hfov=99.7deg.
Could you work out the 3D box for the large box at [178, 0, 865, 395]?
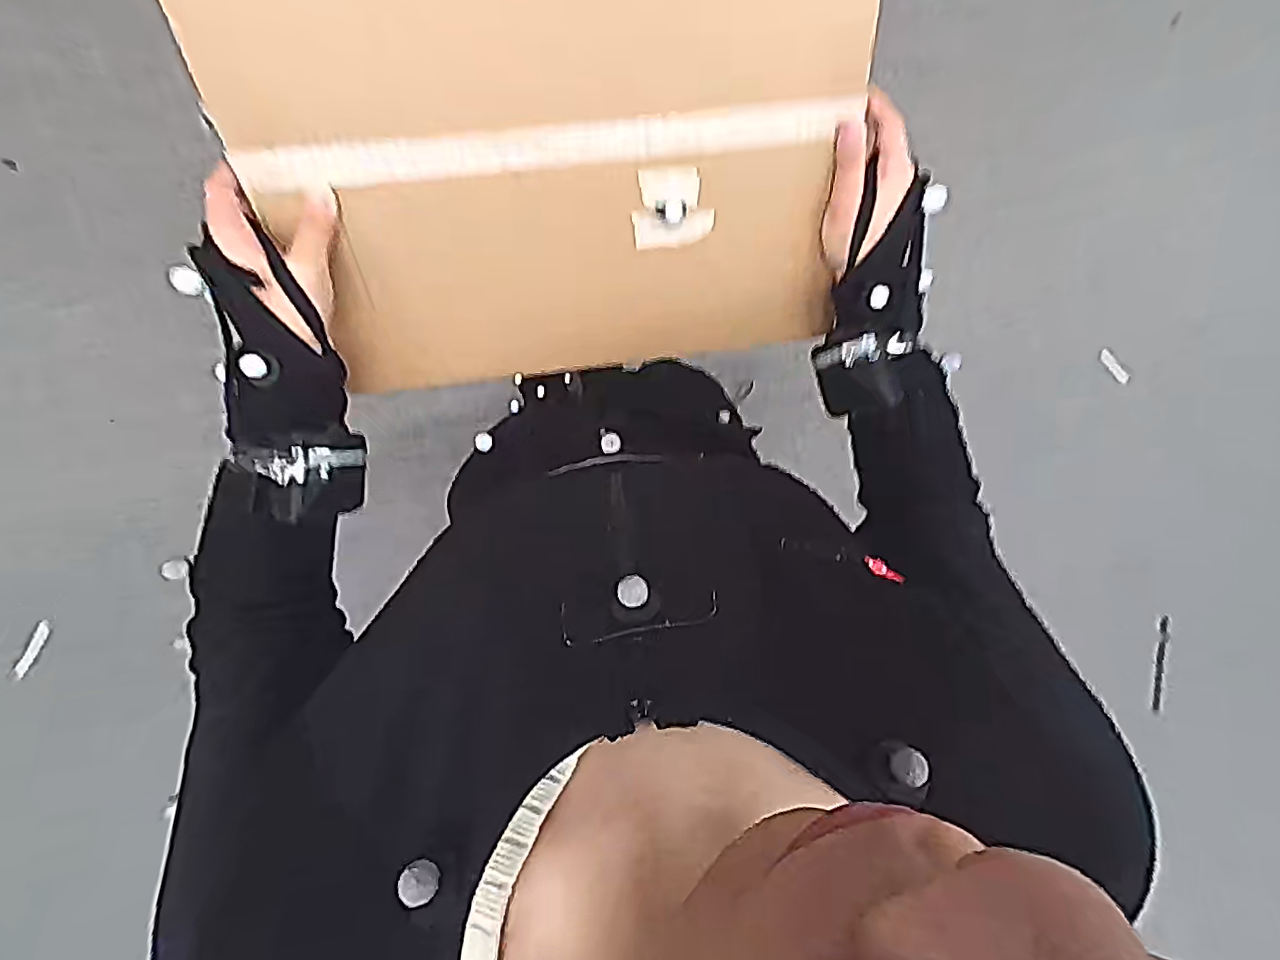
[{"bbox_3d":[-0.076,-0.308,0.479,0.408,0.320,0.320,-10,128,-6],"label":"large box"}]
